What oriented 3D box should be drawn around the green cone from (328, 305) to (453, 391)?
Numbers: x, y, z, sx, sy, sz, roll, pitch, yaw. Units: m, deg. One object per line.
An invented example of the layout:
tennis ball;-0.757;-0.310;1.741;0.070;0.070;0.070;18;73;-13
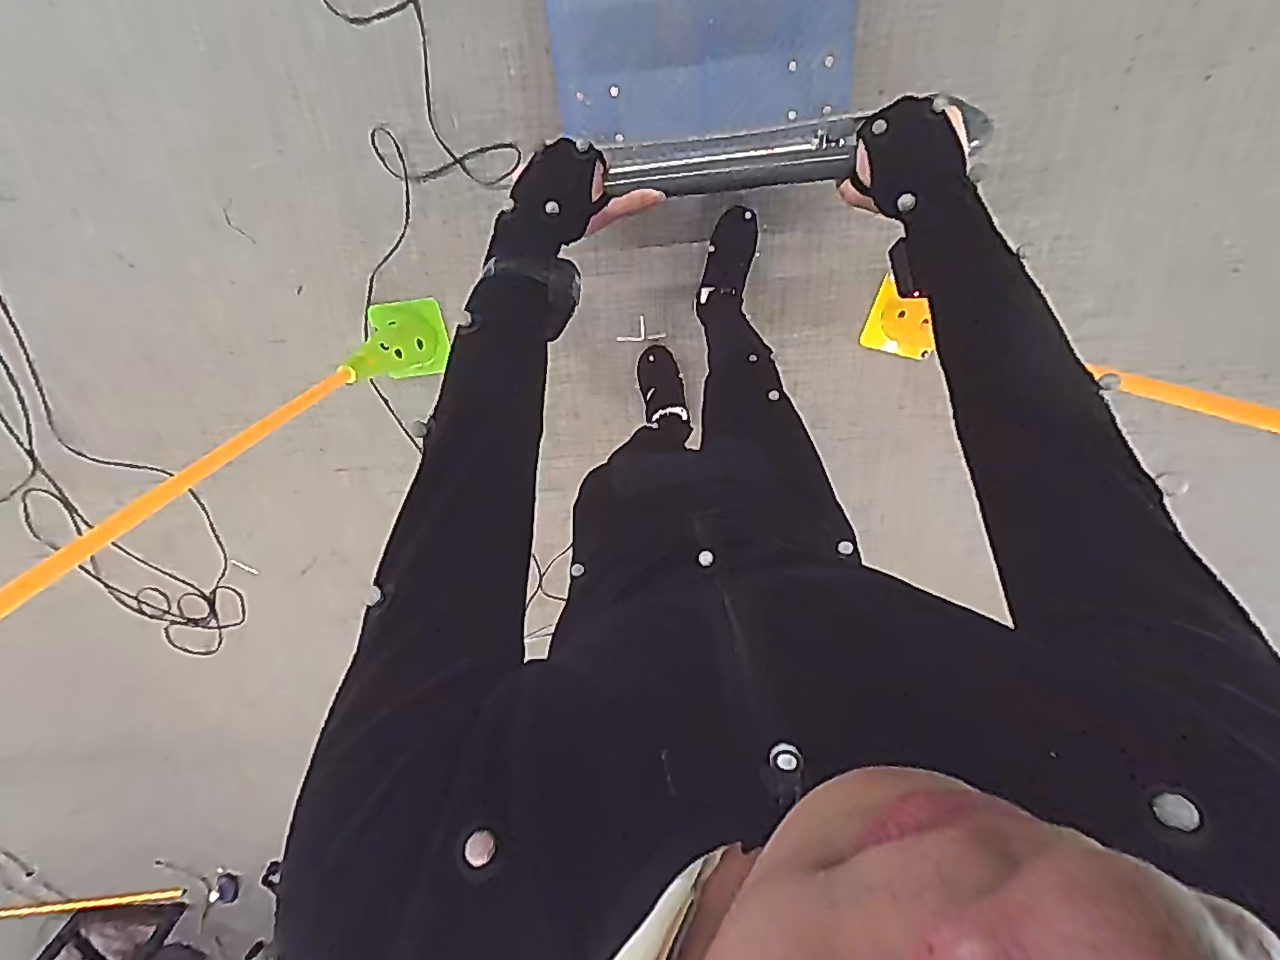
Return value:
green cone;-0.632;-0.290;1.311;0.202;0.368;0.200;-6;115;7
